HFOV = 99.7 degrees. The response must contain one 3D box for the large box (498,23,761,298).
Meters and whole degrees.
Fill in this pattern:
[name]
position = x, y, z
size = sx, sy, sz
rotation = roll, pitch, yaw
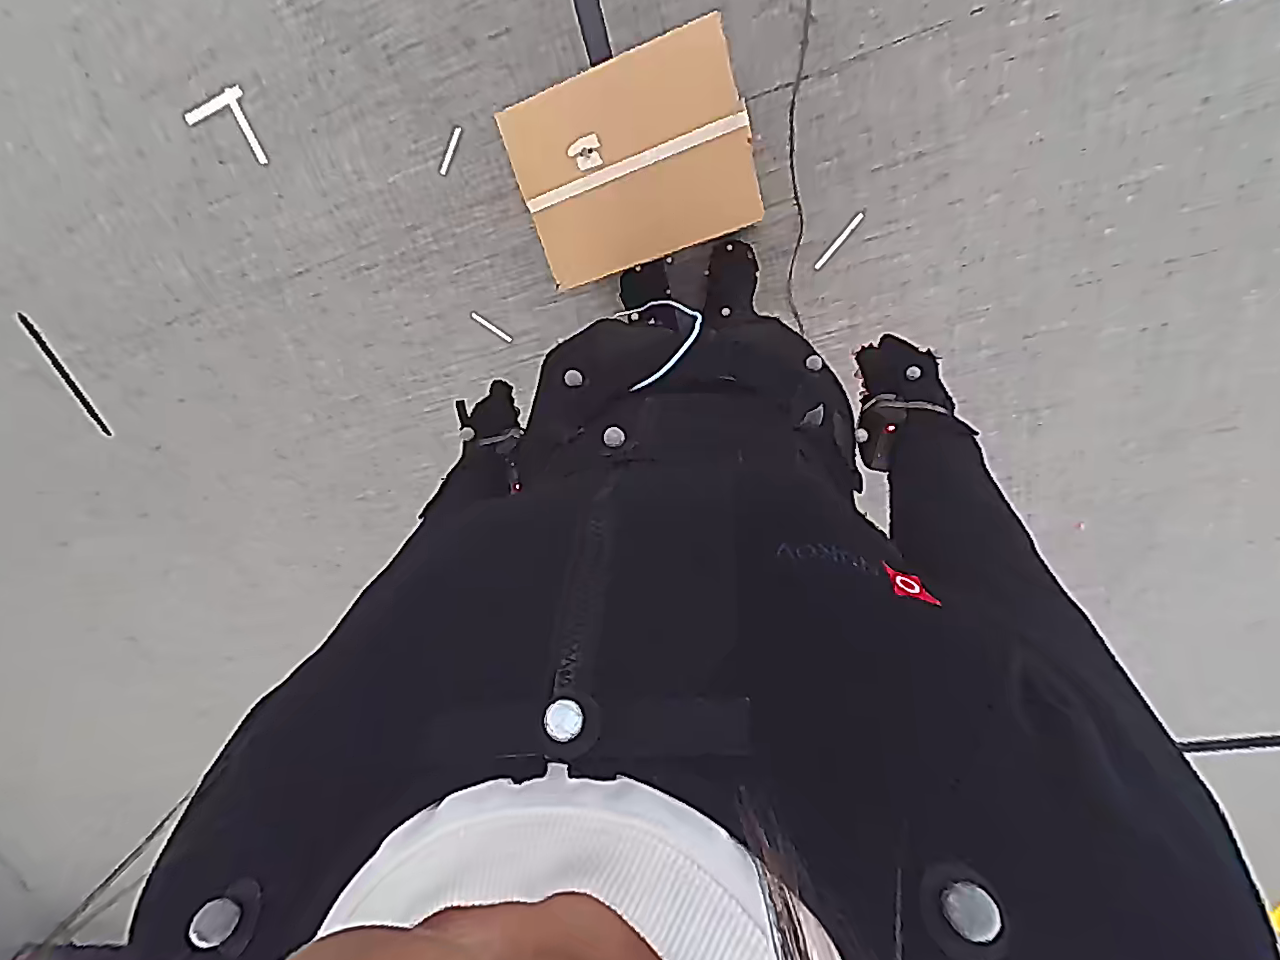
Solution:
[large box]
position = 0.004, -0.598, 1.082
size = 0.408, 0.320, 0.320
rotation = -14, 110, 16
